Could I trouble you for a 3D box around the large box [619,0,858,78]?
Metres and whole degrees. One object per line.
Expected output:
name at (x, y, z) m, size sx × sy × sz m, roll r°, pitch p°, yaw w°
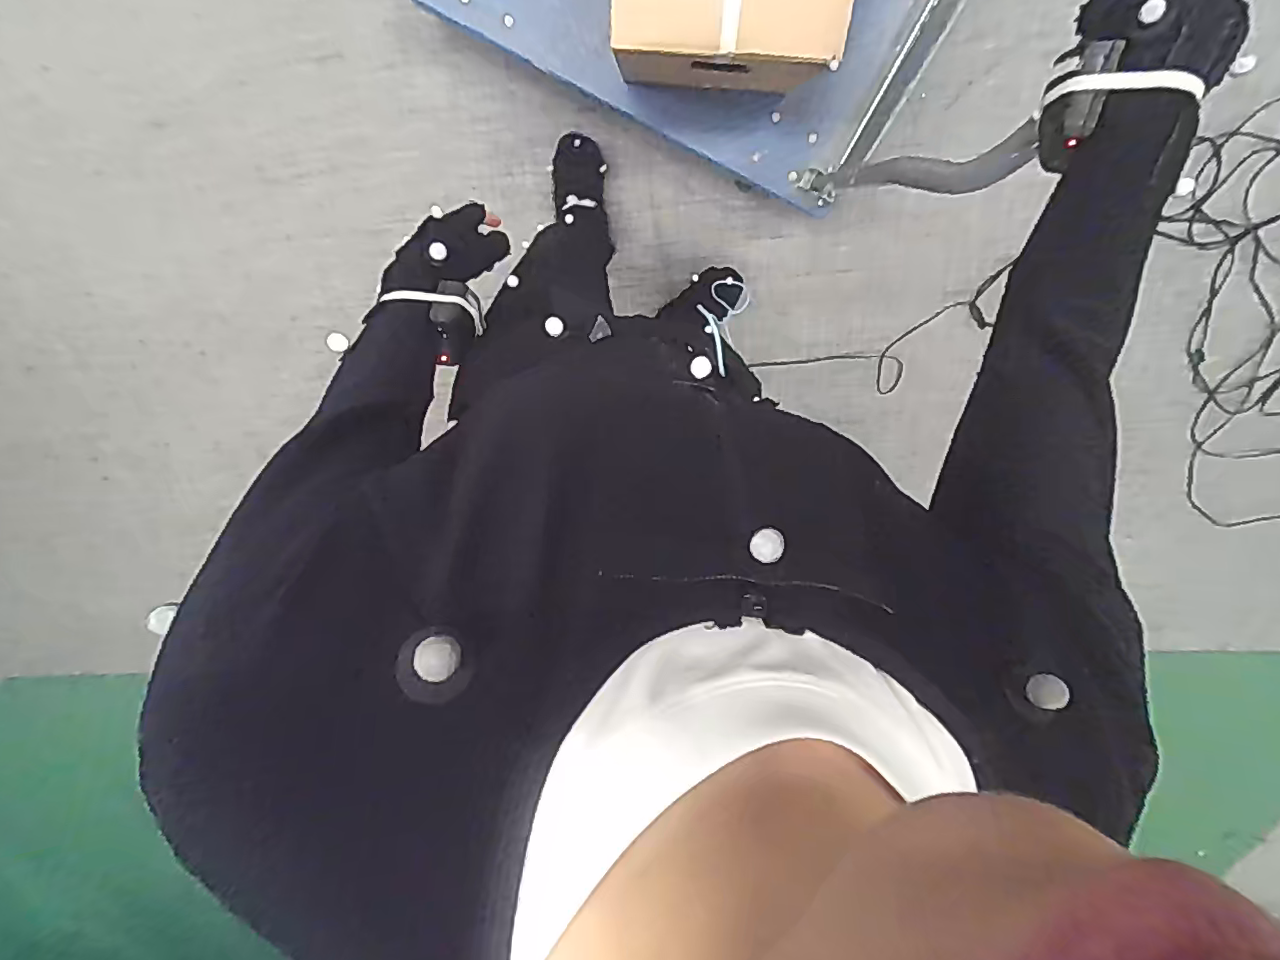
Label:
large box at (0.136, -0.826, 0.745) m, size 0.320 × 0.320 × 0.408 m, roll 4°, pitch 122°, yaw 0°
